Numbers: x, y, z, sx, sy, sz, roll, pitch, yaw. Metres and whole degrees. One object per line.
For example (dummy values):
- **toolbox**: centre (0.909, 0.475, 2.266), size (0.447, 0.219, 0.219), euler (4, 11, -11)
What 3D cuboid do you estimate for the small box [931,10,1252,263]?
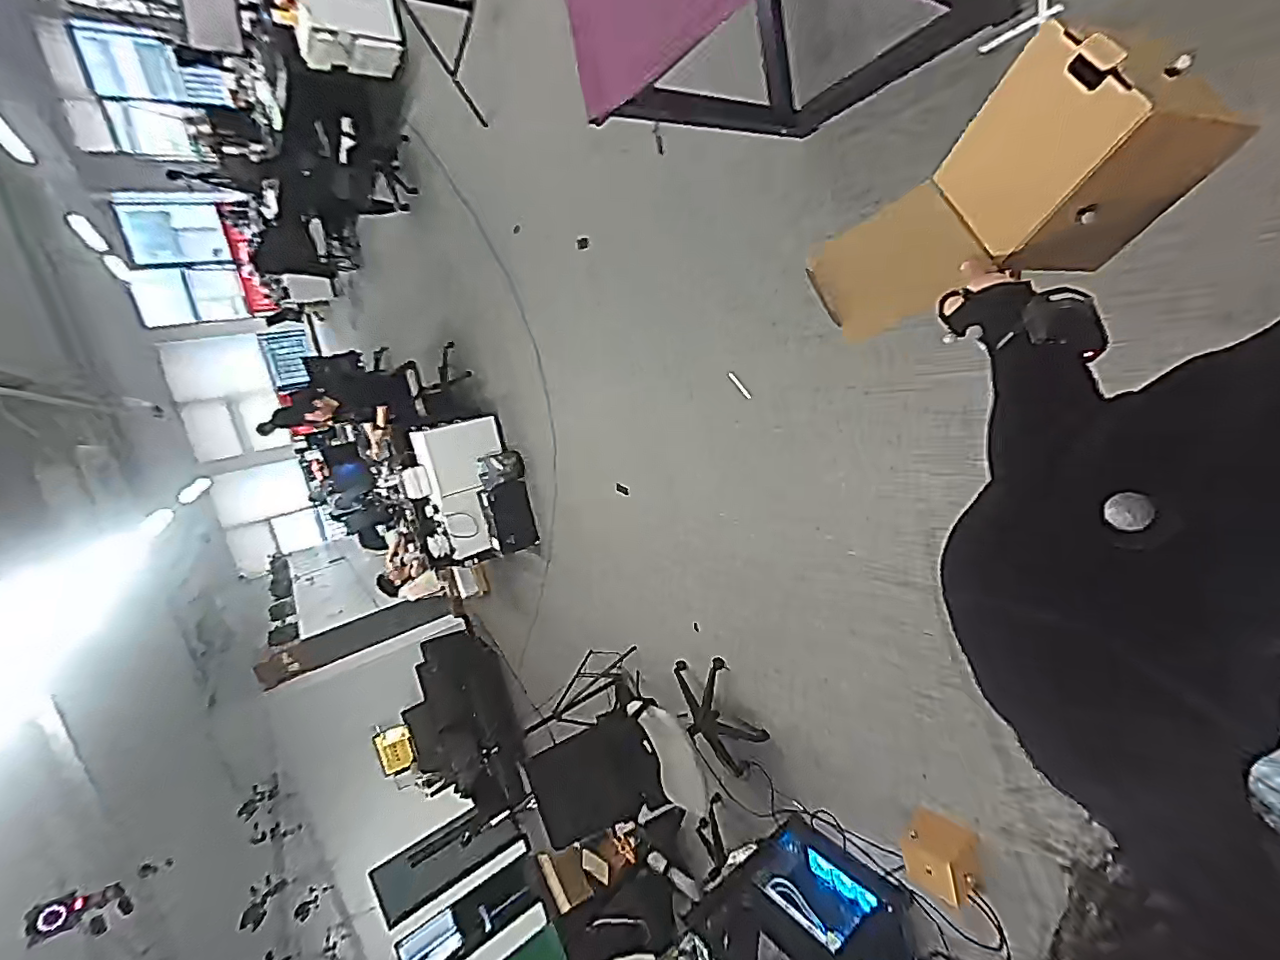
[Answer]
- **small box**: centre (0.477, -0.361, 0.594), size (0.179, 0.176, 0.168), euler (115, 144, -57)
